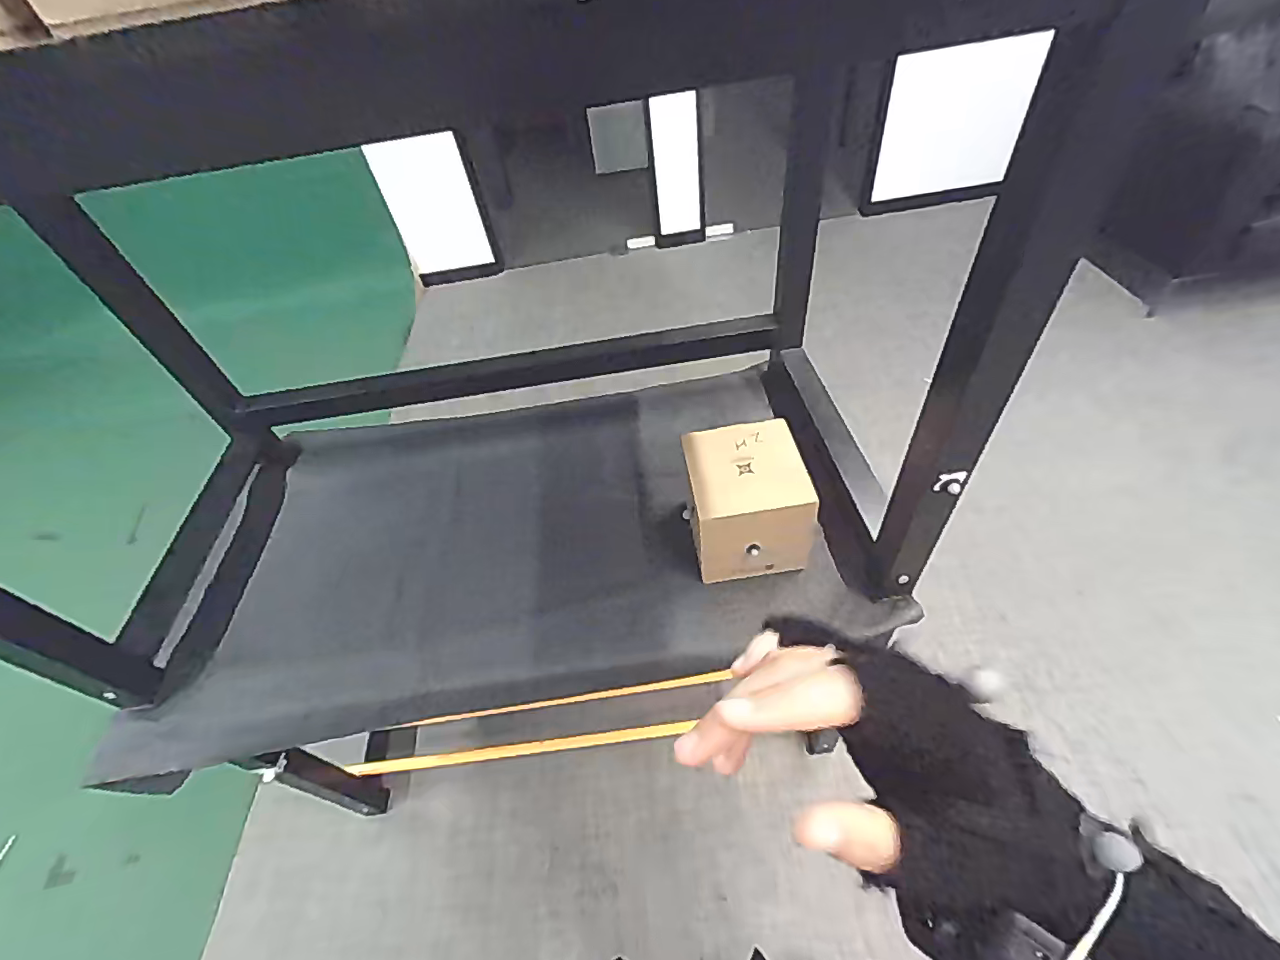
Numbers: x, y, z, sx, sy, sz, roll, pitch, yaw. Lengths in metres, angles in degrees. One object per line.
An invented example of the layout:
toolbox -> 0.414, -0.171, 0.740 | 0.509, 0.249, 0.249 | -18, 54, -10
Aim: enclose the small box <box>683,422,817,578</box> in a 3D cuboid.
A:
small box -> 0.164, 0.038, 0.847 | 0.168, 0.176, 0.179 | -8, 47, 1
